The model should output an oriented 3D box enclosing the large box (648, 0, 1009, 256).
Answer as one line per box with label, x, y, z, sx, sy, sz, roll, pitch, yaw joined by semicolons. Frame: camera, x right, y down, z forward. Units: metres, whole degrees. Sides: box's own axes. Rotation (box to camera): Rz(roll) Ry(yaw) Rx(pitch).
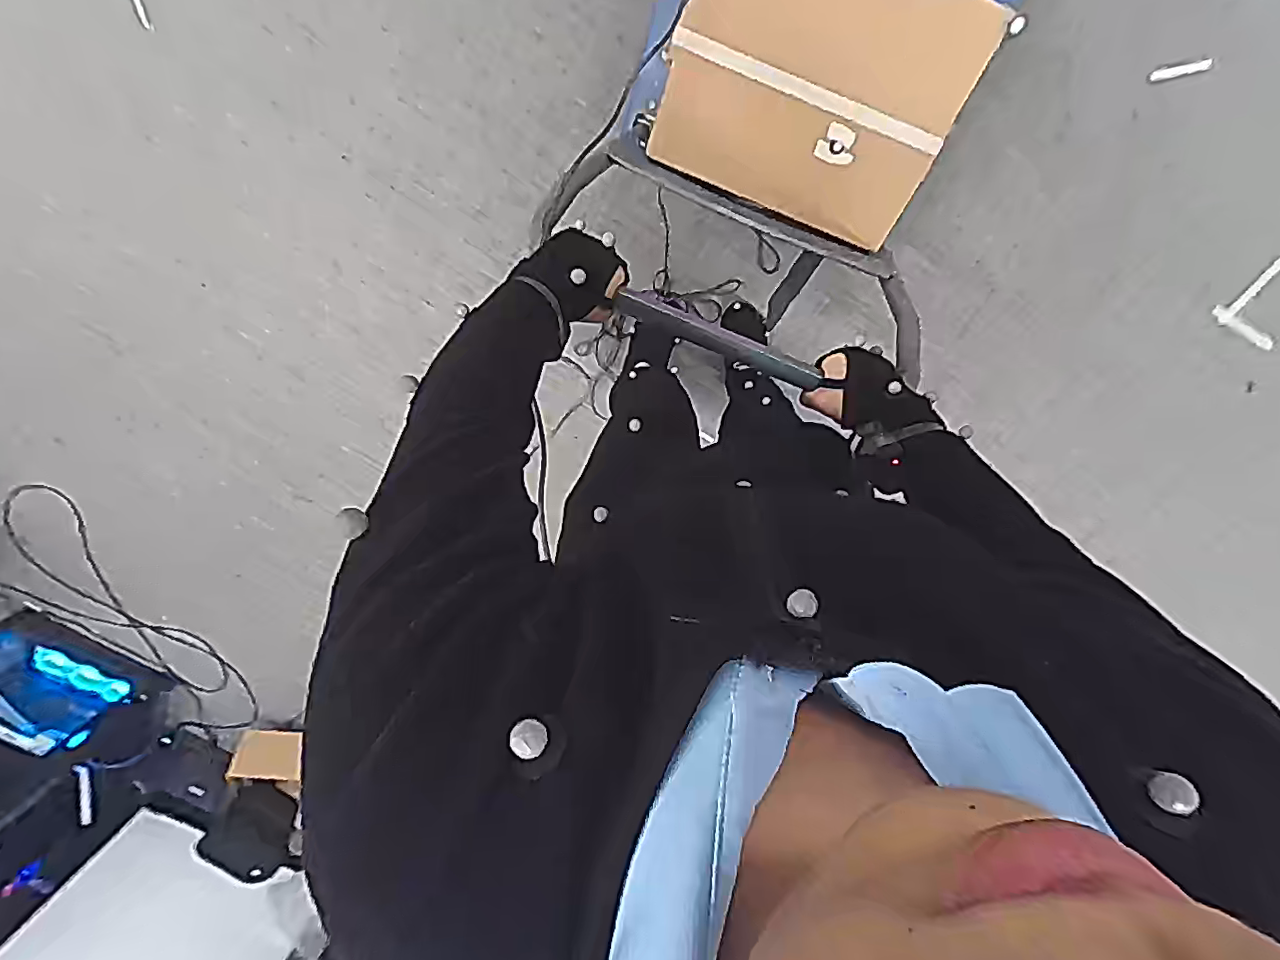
large box;0.264;-0.622;0.885;0.408;0.320;0.320;21;128;-3
